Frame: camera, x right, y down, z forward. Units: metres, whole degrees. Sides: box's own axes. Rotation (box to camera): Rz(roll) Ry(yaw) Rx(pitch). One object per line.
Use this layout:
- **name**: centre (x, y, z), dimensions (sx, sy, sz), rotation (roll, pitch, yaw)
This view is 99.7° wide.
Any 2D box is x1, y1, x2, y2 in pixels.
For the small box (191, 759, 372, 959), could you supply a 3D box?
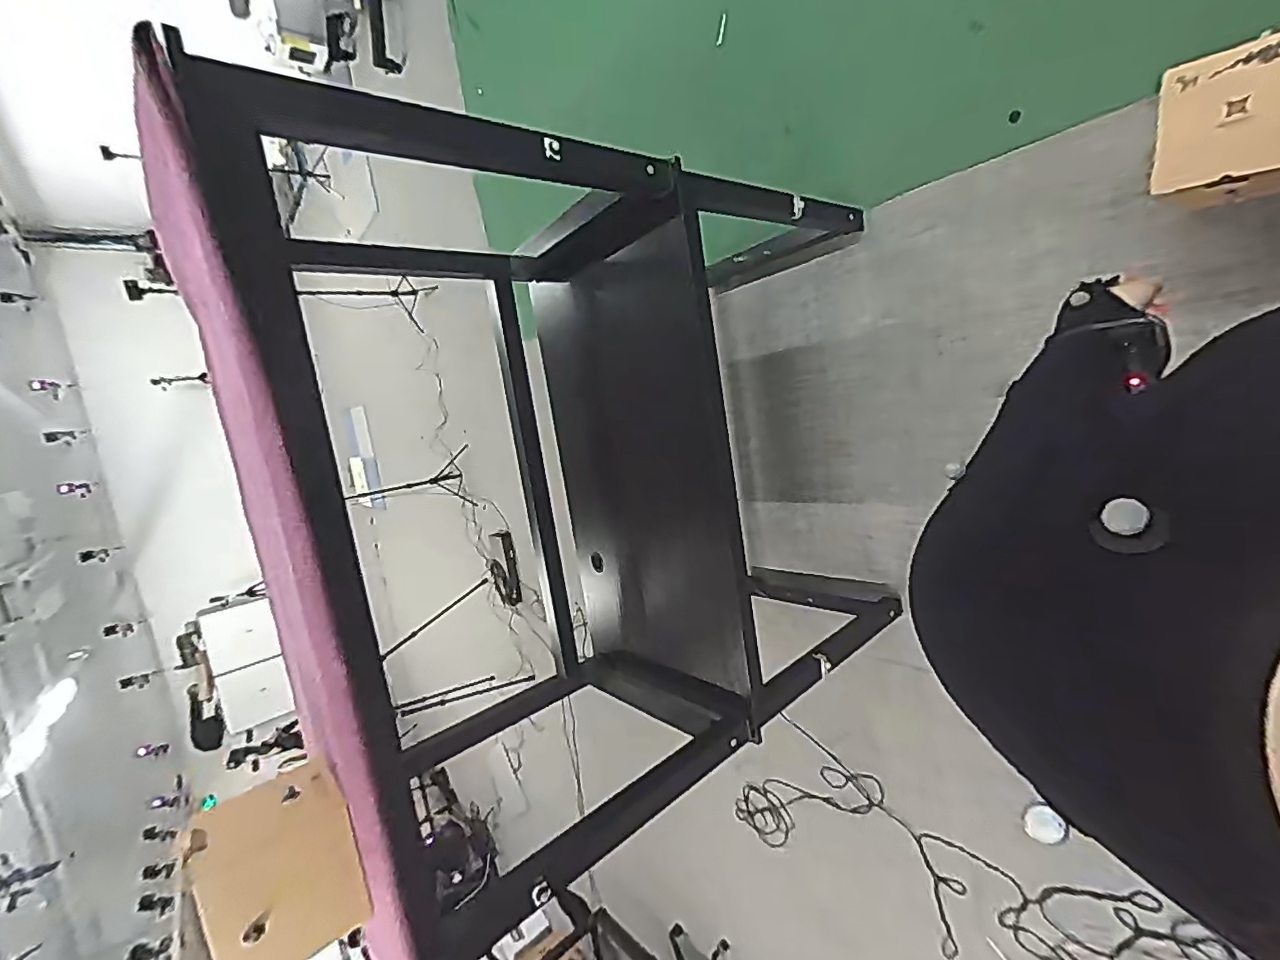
- **small box**: centre (-0.485, 0.528, 0.738), dimensions (0.168, 0.176, 0.179), rotation (-2, 100, 49)

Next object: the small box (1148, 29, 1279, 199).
- **small box**: centre (0.892, -0.532, 0.803), dimensions (0.168, 0.176, 0.179), rotation (10, 110, 50)
